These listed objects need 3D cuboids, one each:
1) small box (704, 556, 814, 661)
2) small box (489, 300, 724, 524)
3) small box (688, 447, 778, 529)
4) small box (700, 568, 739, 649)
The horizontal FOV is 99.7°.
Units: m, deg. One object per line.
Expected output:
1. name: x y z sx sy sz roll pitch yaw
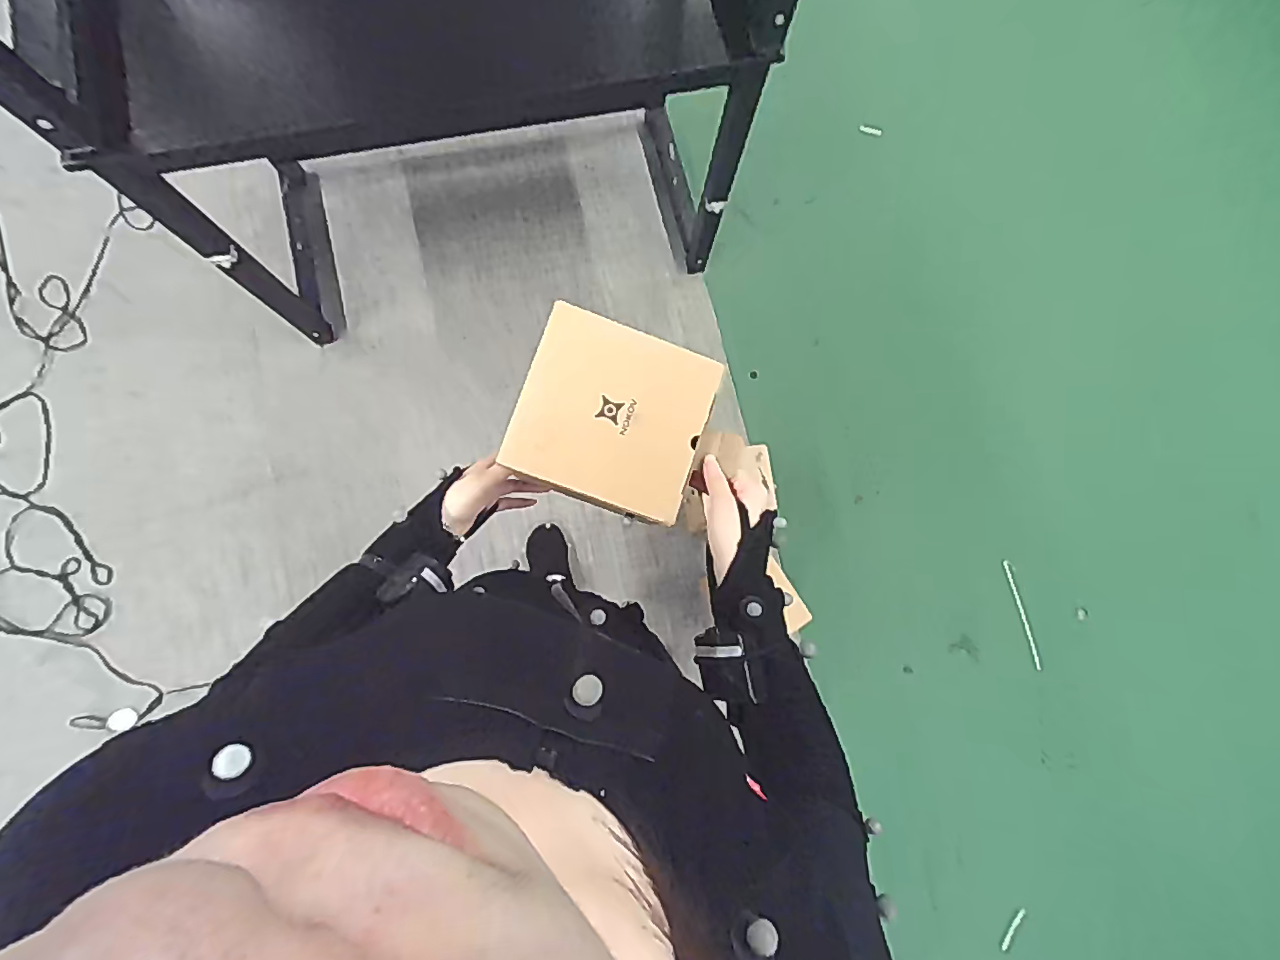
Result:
1. small box: 0.268 0.296 1.273 0.168 0.176 0.179 -33 85 -6
2. small box: -0.036 -0.056 0.572 0.179 0.176 0.168 19 85 -5
3. small box: 0.216 0.025 1.313 0.179 0.176 0.168 -6 80 -4
4. small box: 0.271 0.328 1.433 0.168 0.176 0.179 -20 83 -6
